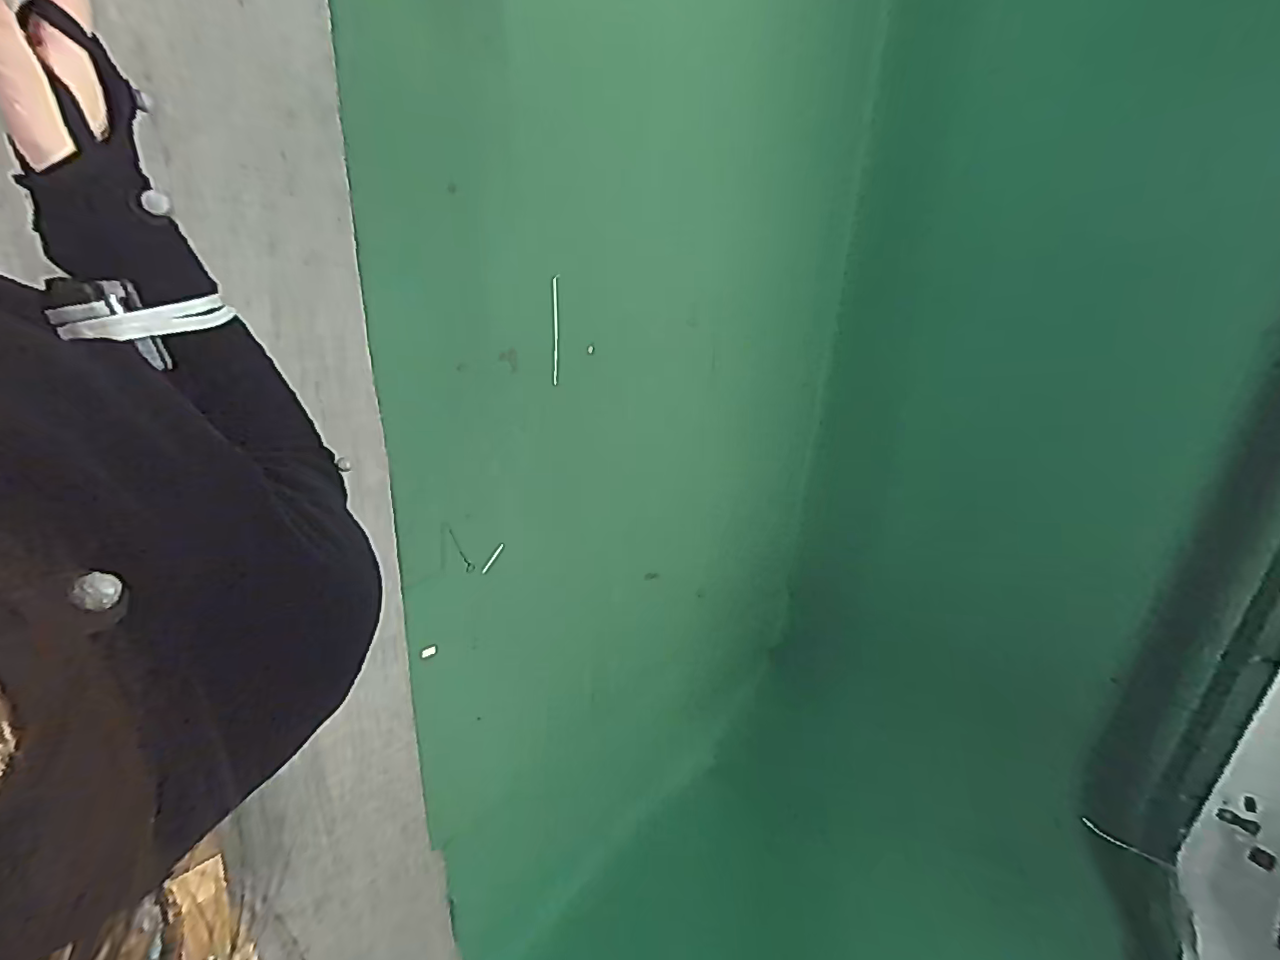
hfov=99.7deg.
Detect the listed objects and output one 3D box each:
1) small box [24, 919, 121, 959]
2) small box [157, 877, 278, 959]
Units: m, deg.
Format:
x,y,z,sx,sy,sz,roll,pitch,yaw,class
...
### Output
x,y,z,sx,sy,sz,roll,pitch,yaw,class
-1.047,0.957,0.963,0.179,0.176,0.168,-21,122,-46,small box
-0.911,1.025,1.173,0.168,0.176,0.179,-19,122,-48,small box
